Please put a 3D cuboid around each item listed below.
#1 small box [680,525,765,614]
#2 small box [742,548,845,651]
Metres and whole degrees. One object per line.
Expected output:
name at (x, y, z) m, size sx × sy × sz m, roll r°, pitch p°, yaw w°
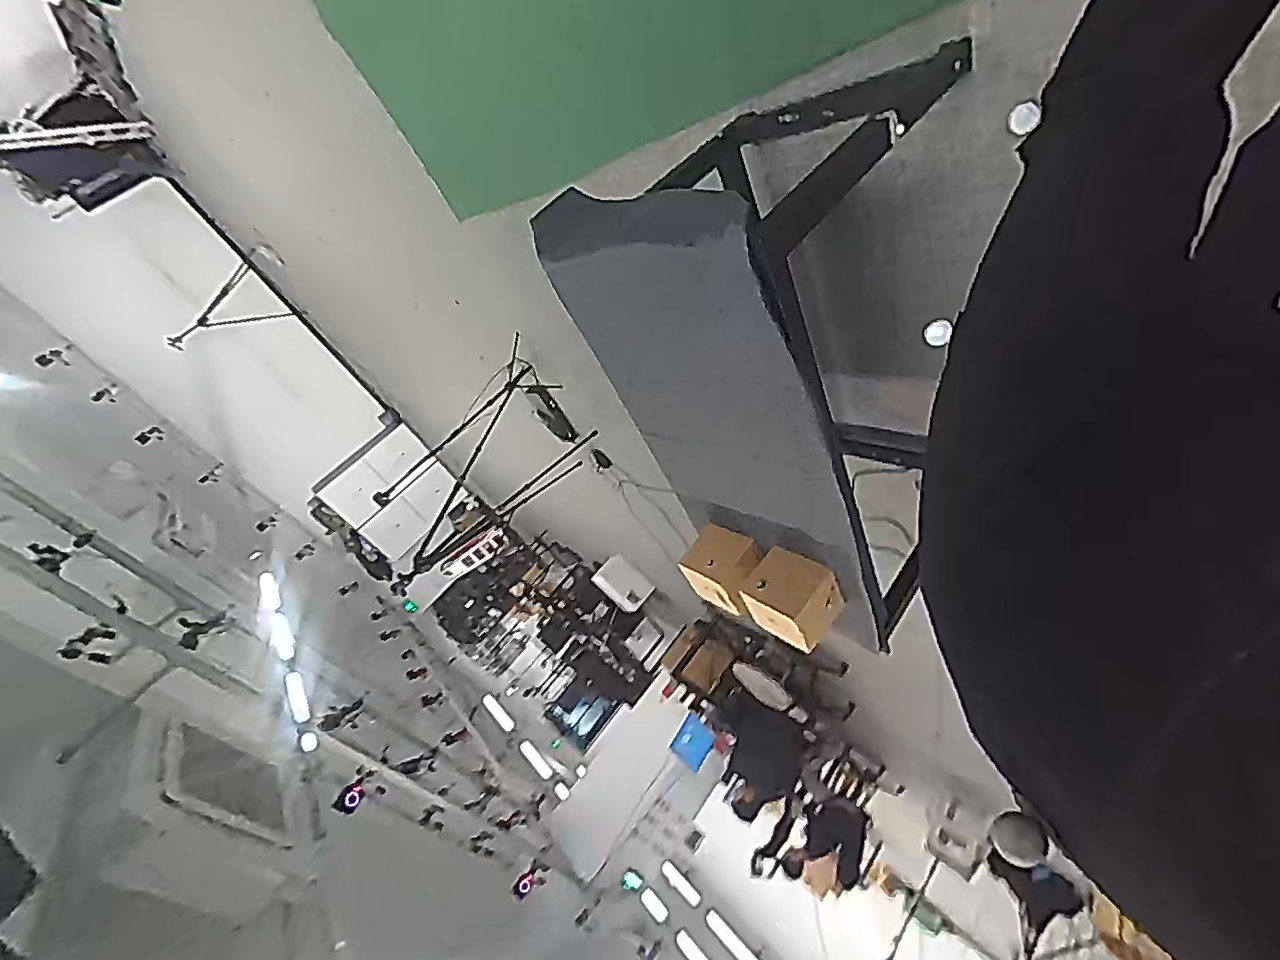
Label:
small box at (0.256, 0.257, 1.590) m, size 0.179 × 0.176 × 0.168 m, roll 19°, pitch 149°, yaw 48°
small box at (0.402, 0.301, 1.408) m, size 0.179 × 0.176 × 0.168 m, roll 21°, pitch 151°, yaw 47°
